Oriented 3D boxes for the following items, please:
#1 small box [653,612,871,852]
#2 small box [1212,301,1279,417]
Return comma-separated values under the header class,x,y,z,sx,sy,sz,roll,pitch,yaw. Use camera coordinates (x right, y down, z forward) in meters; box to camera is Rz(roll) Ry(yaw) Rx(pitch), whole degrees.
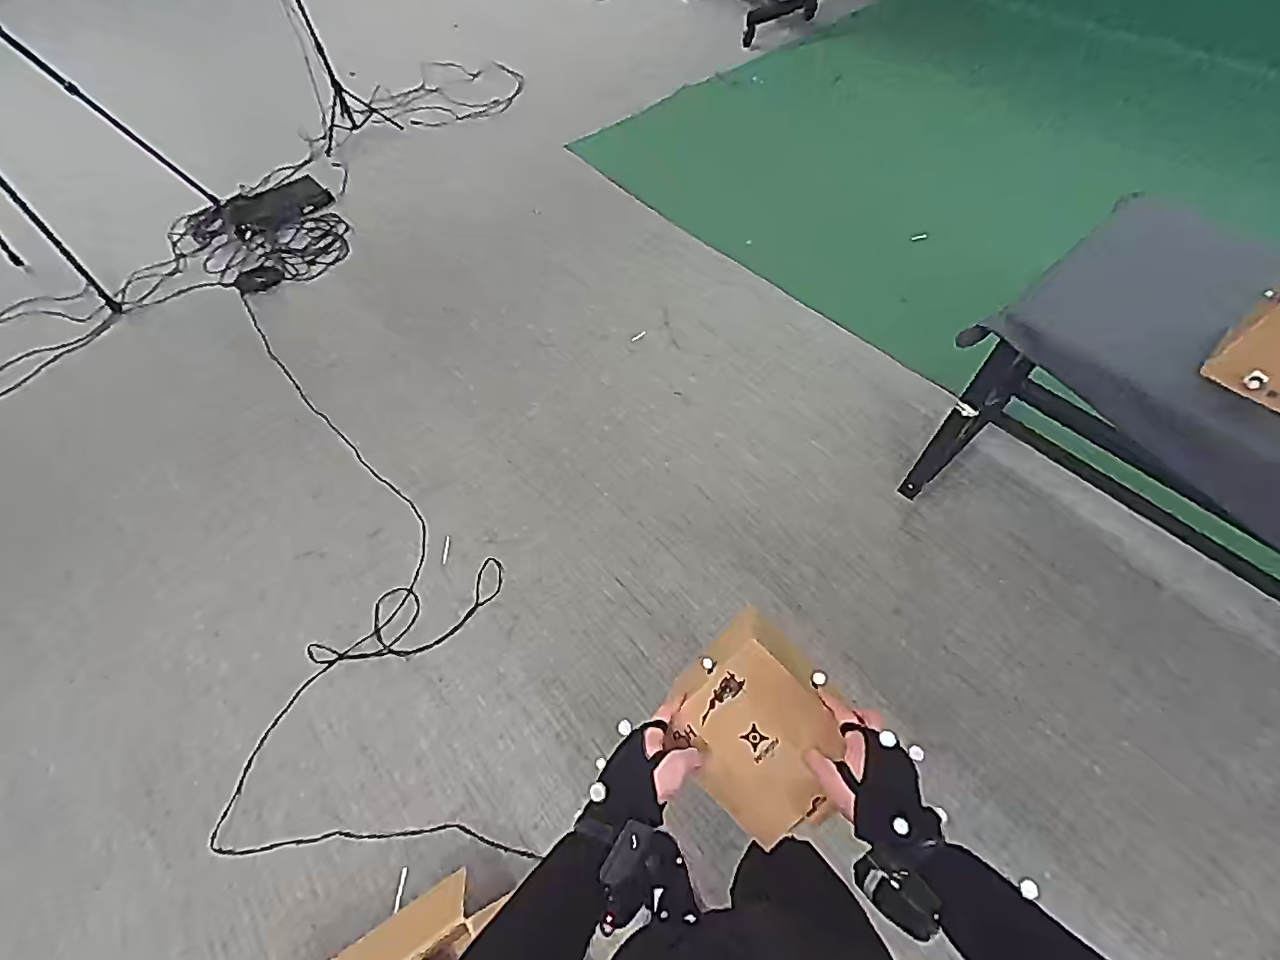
class,x,y,z,sx,sy,sz,roll,pitch,yaw
small box,0.145,0.289,0.666,0.179,0.176,0.168,45,97,9
small box,1.158,-0.228,0.926,0.179,0.176,0.168,-39,63,-19
